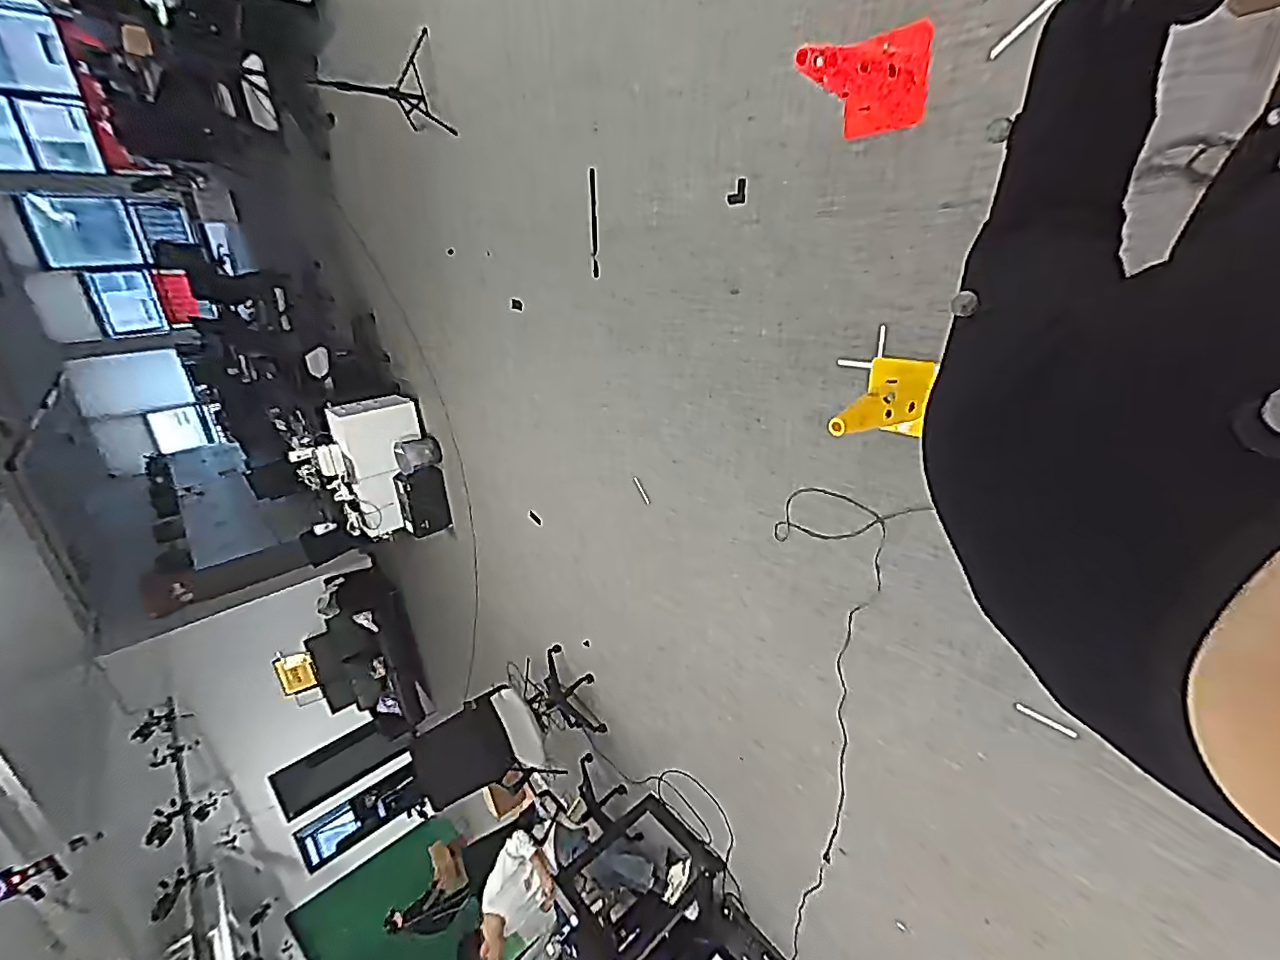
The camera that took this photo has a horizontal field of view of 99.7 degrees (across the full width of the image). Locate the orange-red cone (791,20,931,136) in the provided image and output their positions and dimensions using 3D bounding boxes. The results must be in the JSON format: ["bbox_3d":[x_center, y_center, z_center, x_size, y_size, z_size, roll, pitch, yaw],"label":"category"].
[{"bbox_3d":[0.451,-0.891,1.180,0.198,0.360,0.199,21,124,45],"label":"orange-red cone"}]
